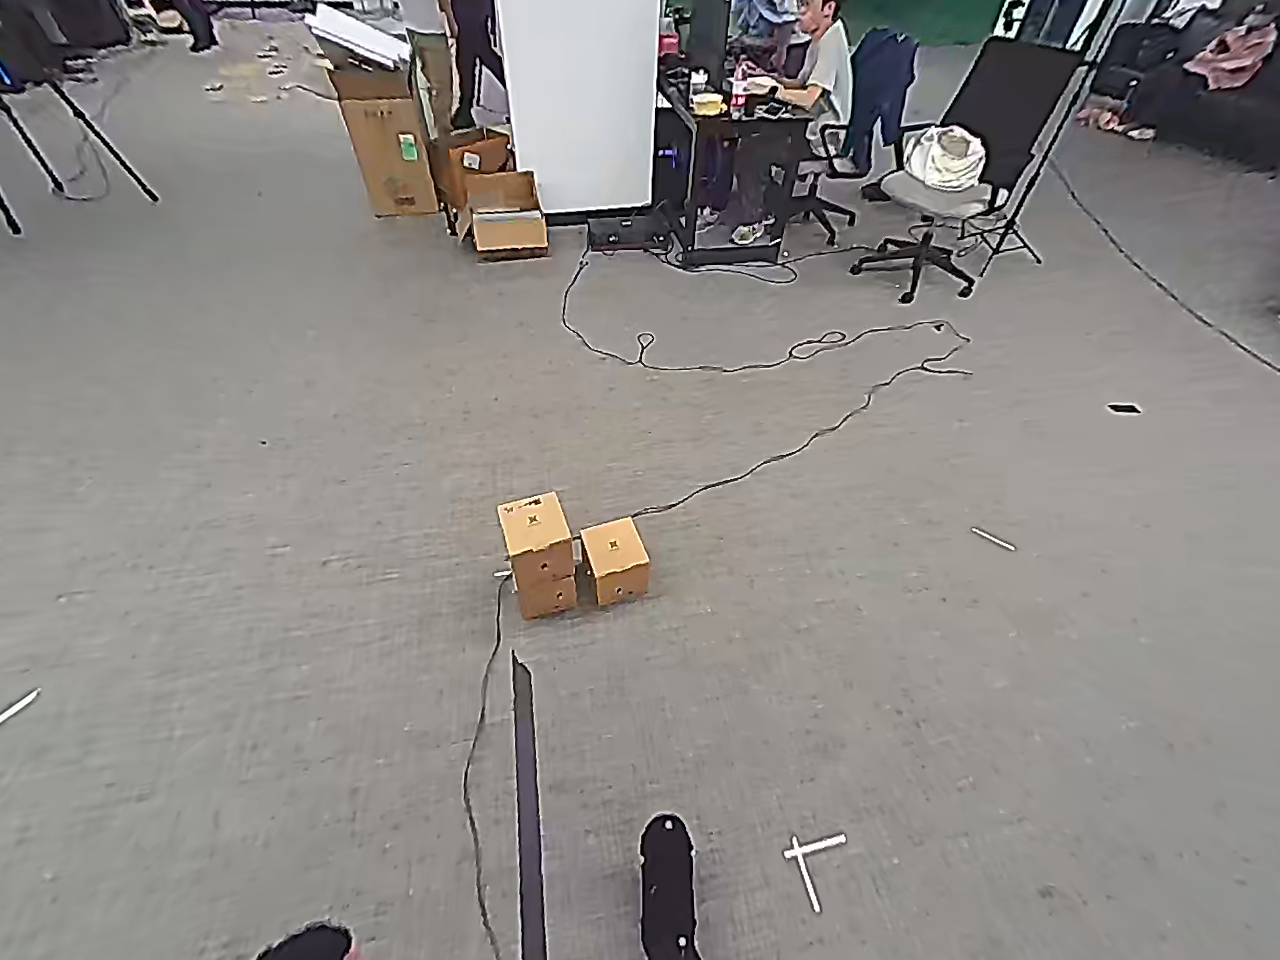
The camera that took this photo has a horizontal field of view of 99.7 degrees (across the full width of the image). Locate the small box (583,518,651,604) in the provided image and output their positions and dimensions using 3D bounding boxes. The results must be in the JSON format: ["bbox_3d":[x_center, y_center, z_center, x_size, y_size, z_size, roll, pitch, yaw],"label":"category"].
[{"bbox_3d":[-0.075,0.247,1.651,0.168,0.176,0.179,-14,51,-14],"label":"small box"}]

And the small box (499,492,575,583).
[{"bbox_3d":[-0.282,0.165,1.497,0.168,0.176,0.179,-14,51,-15],"label":"small box"}]

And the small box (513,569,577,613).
[{"bbox_3d":[-0.286,0.280,1.615,0.168,0.176,0.179,-11,49,-12],"label":"small box"}]
